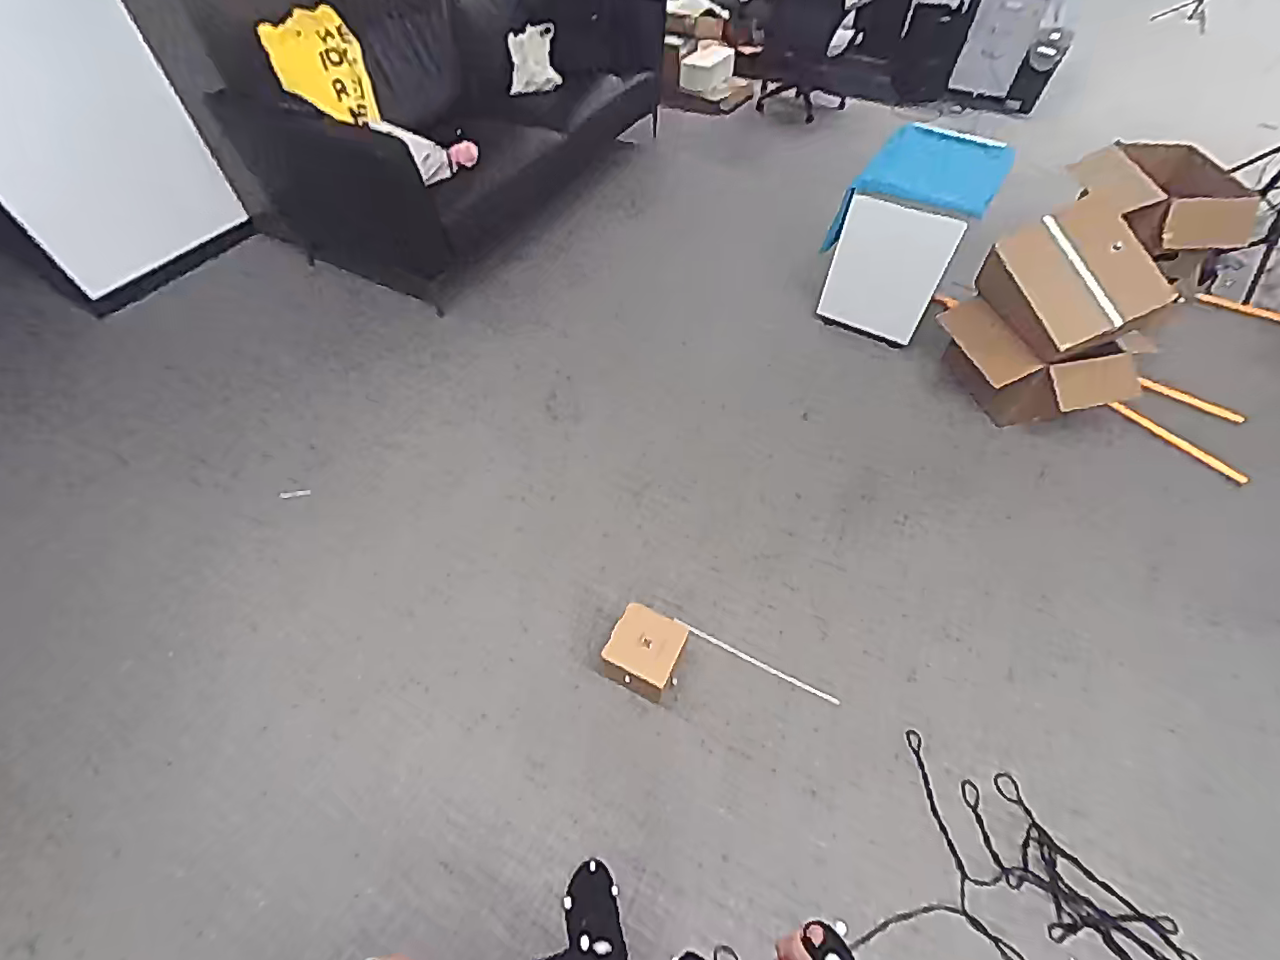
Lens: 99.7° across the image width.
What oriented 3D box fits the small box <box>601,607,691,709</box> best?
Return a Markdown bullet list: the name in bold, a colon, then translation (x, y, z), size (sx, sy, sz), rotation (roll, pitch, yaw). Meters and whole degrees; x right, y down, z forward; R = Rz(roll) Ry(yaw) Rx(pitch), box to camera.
- **small box**: translation (0.017, 0.468, 1.405), size (0.179, 0.176, 0.168), rotation (23, 56, 17)
